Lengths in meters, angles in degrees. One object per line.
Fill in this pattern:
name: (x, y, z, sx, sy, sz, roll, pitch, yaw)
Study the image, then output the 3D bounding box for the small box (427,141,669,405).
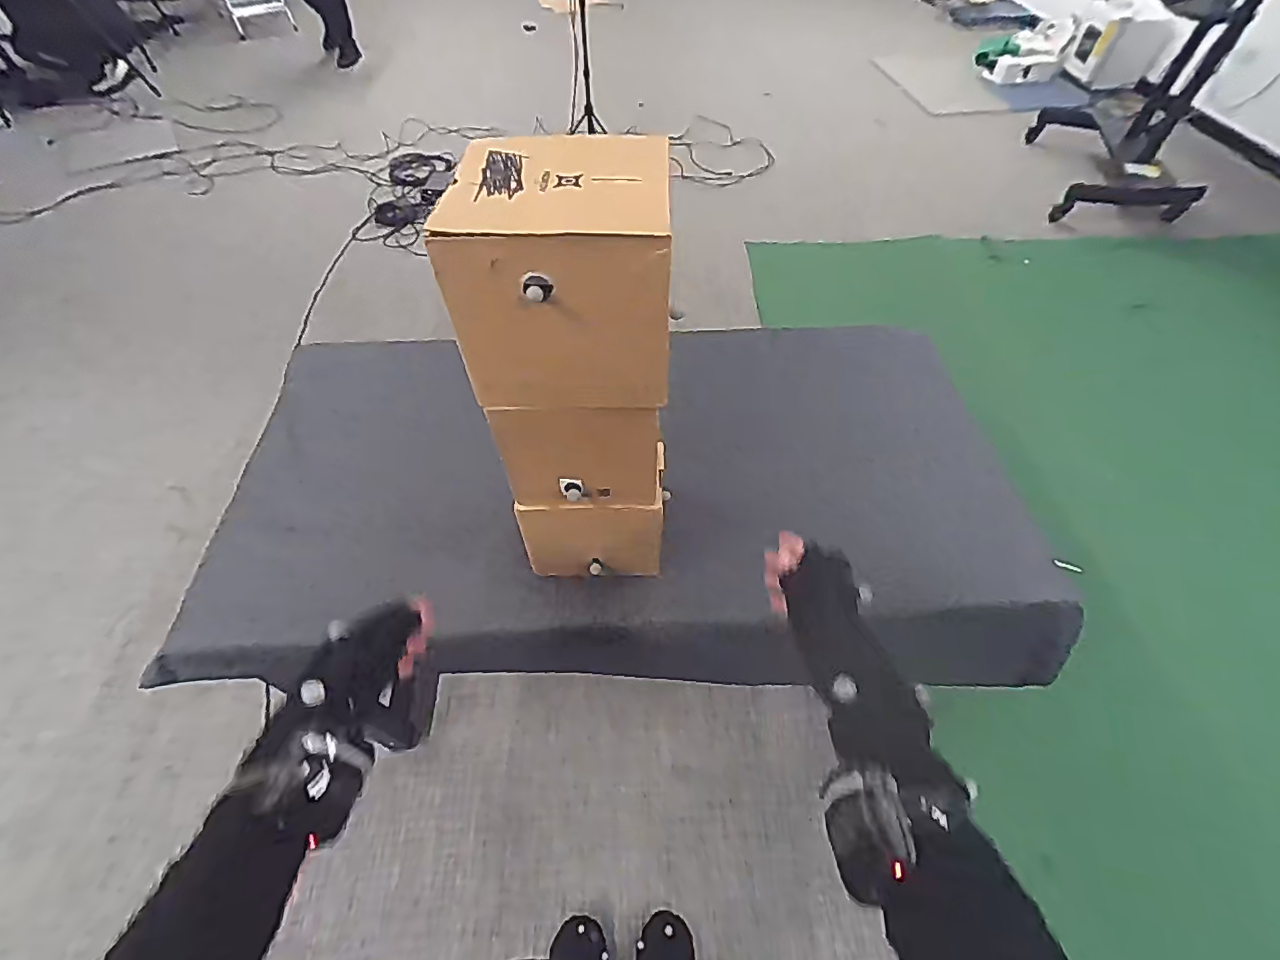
small box: (-0.063, -0.183, 0.493, 0.179, 0.176, 0.168, 1, 53, 1)

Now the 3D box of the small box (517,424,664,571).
small box: (-0.061, 0.016, 0.752, 0.179, 0.176, 0.168, 0, 53, -1)

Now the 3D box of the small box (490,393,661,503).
small box: (-0.063, -0.090, 0.628, 0.168, 0.176, 0.179, -2, 54, 0)
